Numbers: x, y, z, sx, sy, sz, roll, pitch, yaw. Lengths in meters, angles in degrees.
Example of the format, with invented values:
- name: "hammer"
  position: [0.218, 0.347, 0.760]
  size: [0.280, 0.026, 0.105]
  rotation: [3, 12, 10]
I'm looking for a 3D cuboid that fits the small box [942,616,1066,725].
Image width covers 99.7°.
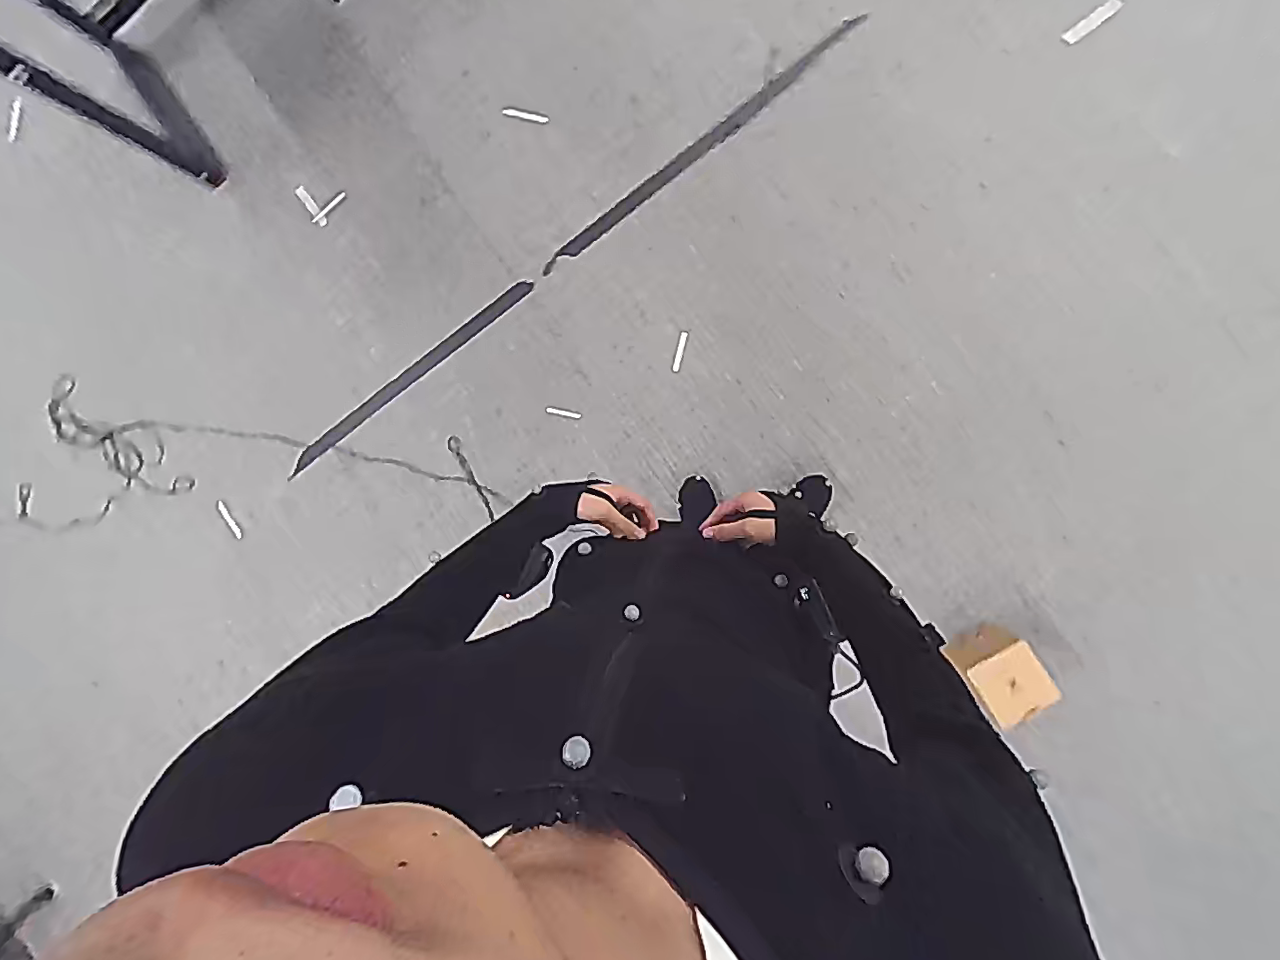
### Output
- name: "small box"
  position: [0.929, 0.483, 1.396]
  size: [0.168, 0.176, 0.179]
  rotation: [-33, 89, 7]
